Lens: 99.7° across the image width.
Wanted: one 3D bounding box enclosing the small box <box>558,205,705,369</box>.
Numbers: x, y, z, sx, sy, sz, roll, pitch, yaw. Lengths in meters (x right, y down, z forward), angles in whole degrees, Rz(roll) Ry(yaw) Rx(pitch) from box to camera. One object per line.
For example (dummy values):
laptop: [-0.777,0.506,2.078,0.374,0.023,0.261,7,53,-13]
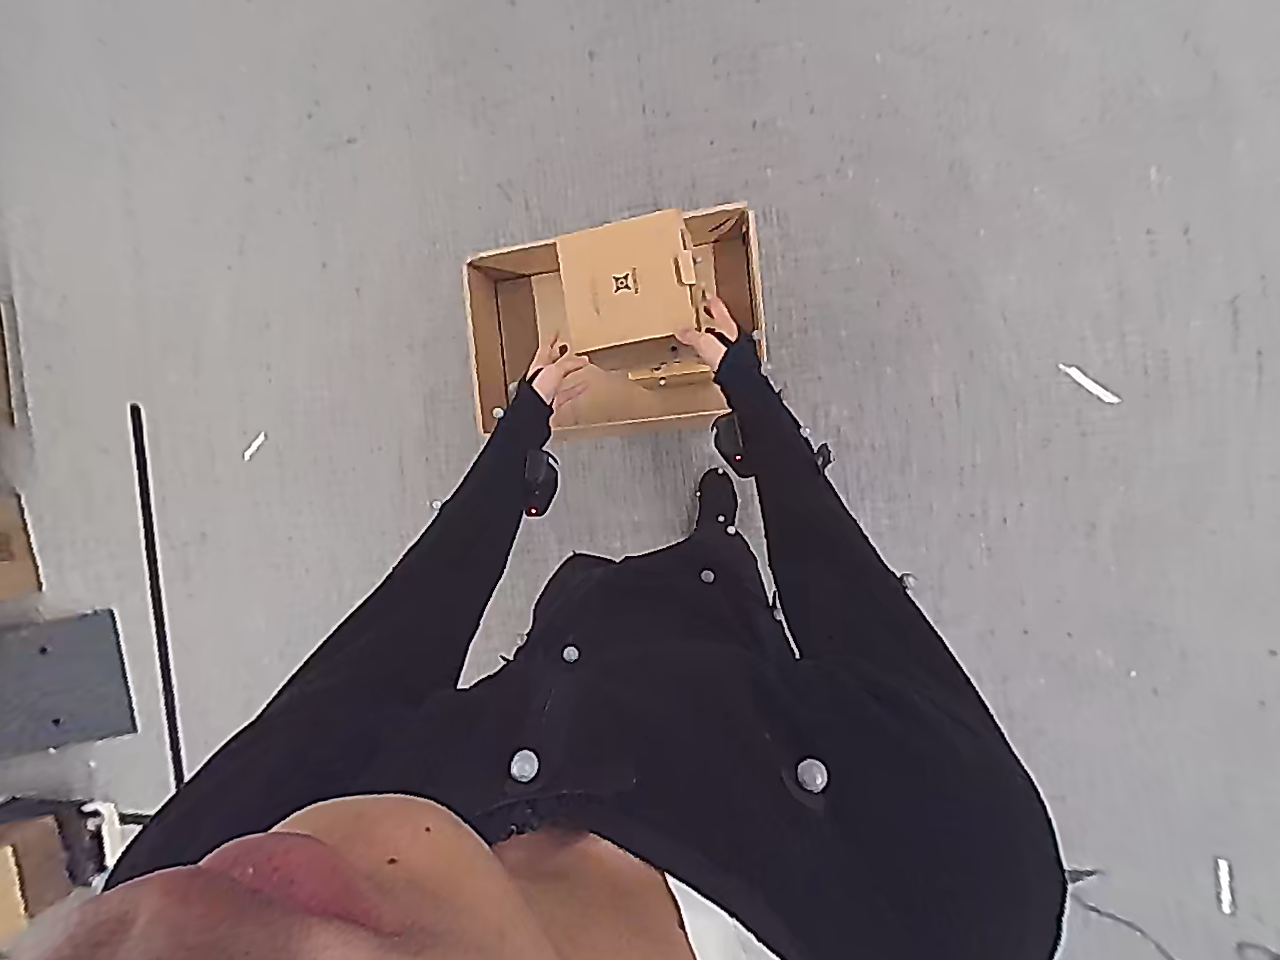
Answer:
small box: [-0.002,-0.269,0.795,0.179,0.176,0.168,-8,90,12]
